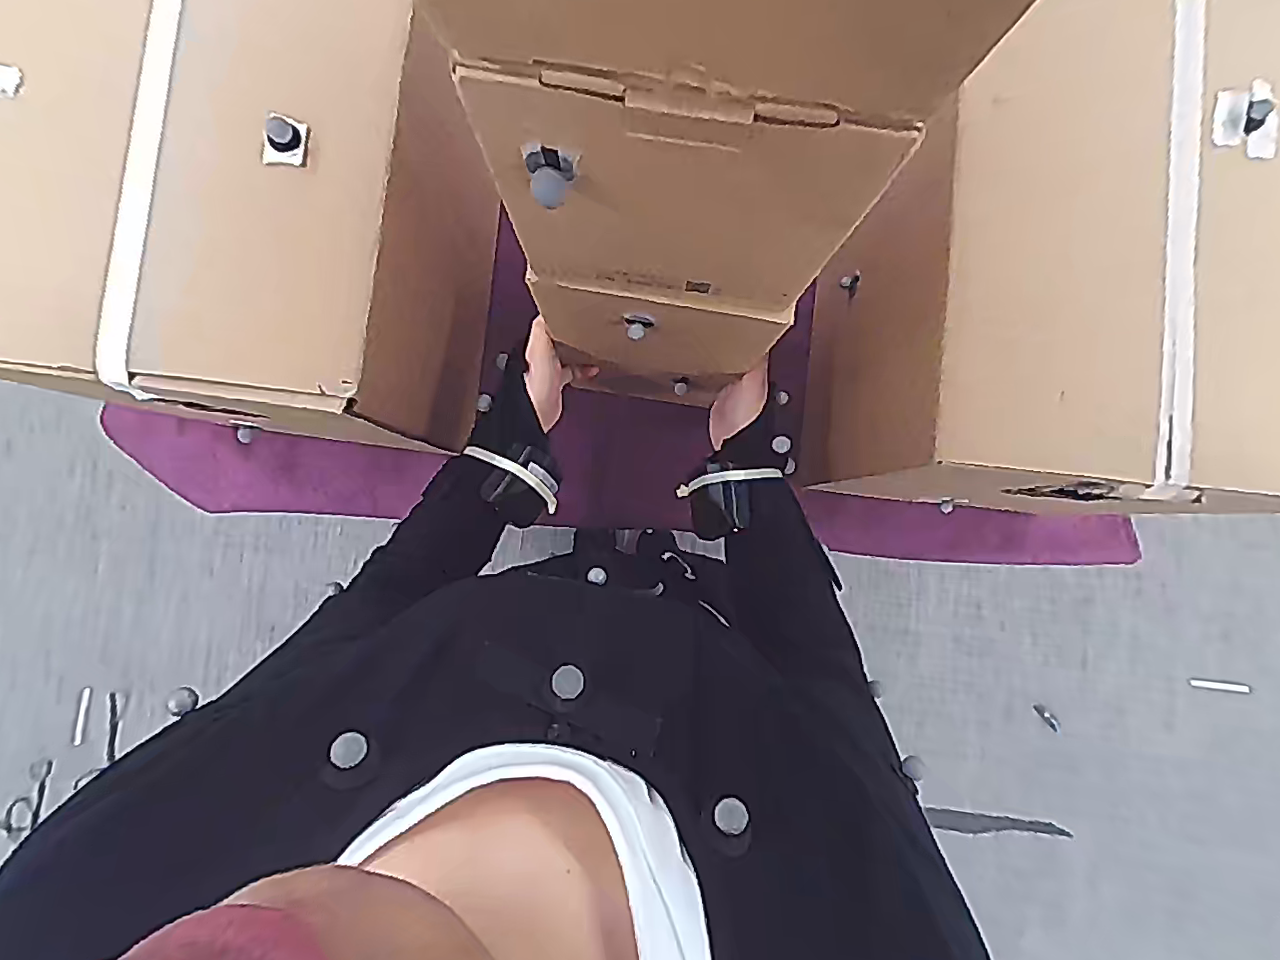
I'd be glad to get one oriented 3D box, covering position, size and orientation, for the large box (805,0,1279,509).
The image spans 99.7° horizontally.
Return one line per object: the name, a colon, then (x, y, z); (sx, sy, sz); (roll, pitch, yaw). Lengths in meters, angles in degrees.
large box: (0.367, -0.184, 0.534); (0.320, 0.320, 0.408); (6, 85, -2)
